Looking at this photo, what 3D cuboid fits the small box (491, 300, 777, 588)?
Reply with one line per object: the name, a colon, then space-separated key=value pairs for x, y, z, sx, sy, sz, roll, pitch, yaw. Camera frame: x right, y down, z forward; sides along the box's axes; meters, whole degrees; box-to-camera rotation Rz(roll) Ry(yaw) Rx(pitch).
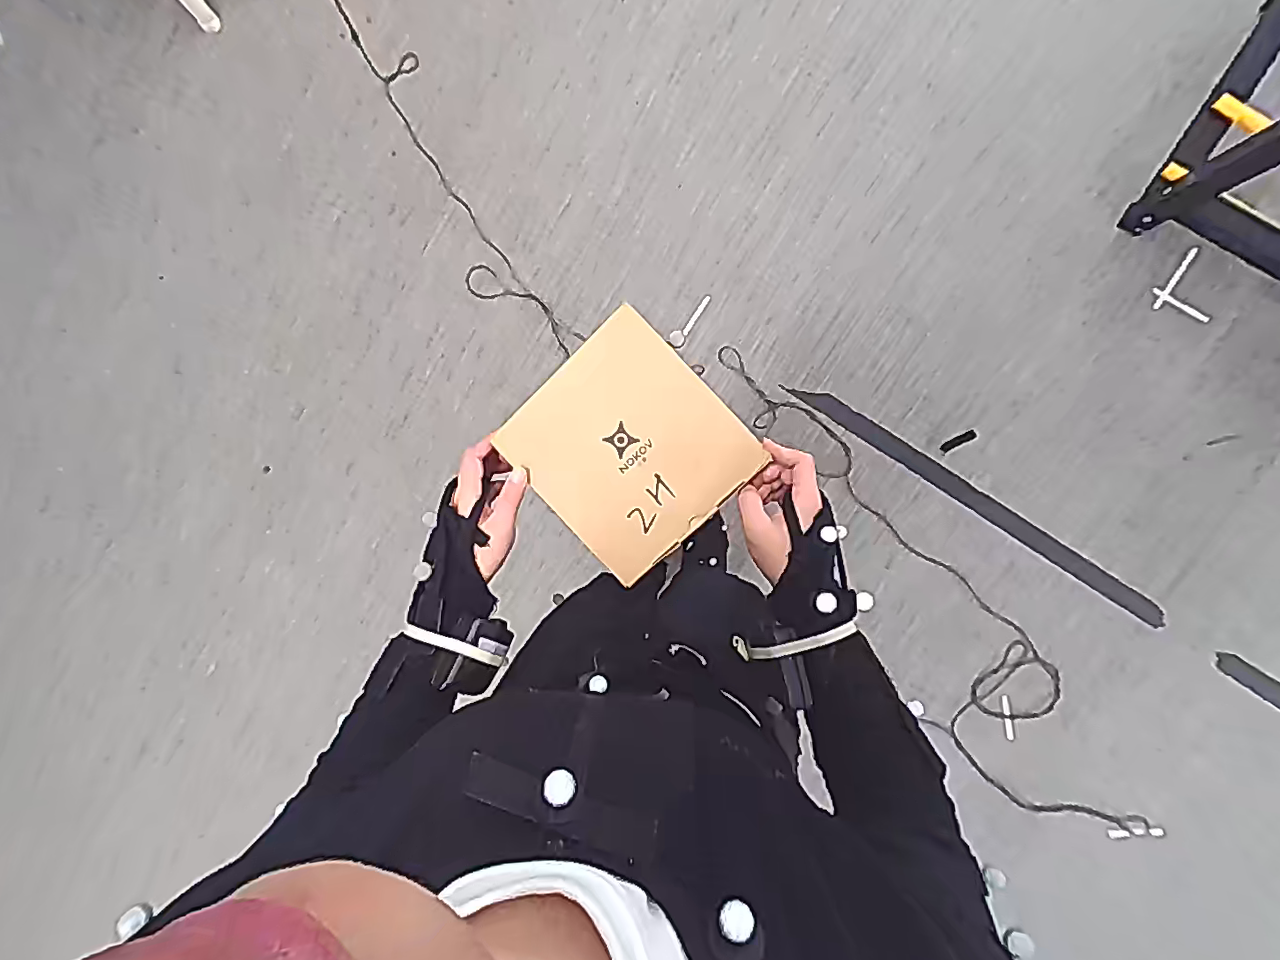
small box: x=0.001 y=-0.033 z=0.511 sx=0.168 sy=0.176 sz=0.179 roll=-43 pitch=90 yaw=10
